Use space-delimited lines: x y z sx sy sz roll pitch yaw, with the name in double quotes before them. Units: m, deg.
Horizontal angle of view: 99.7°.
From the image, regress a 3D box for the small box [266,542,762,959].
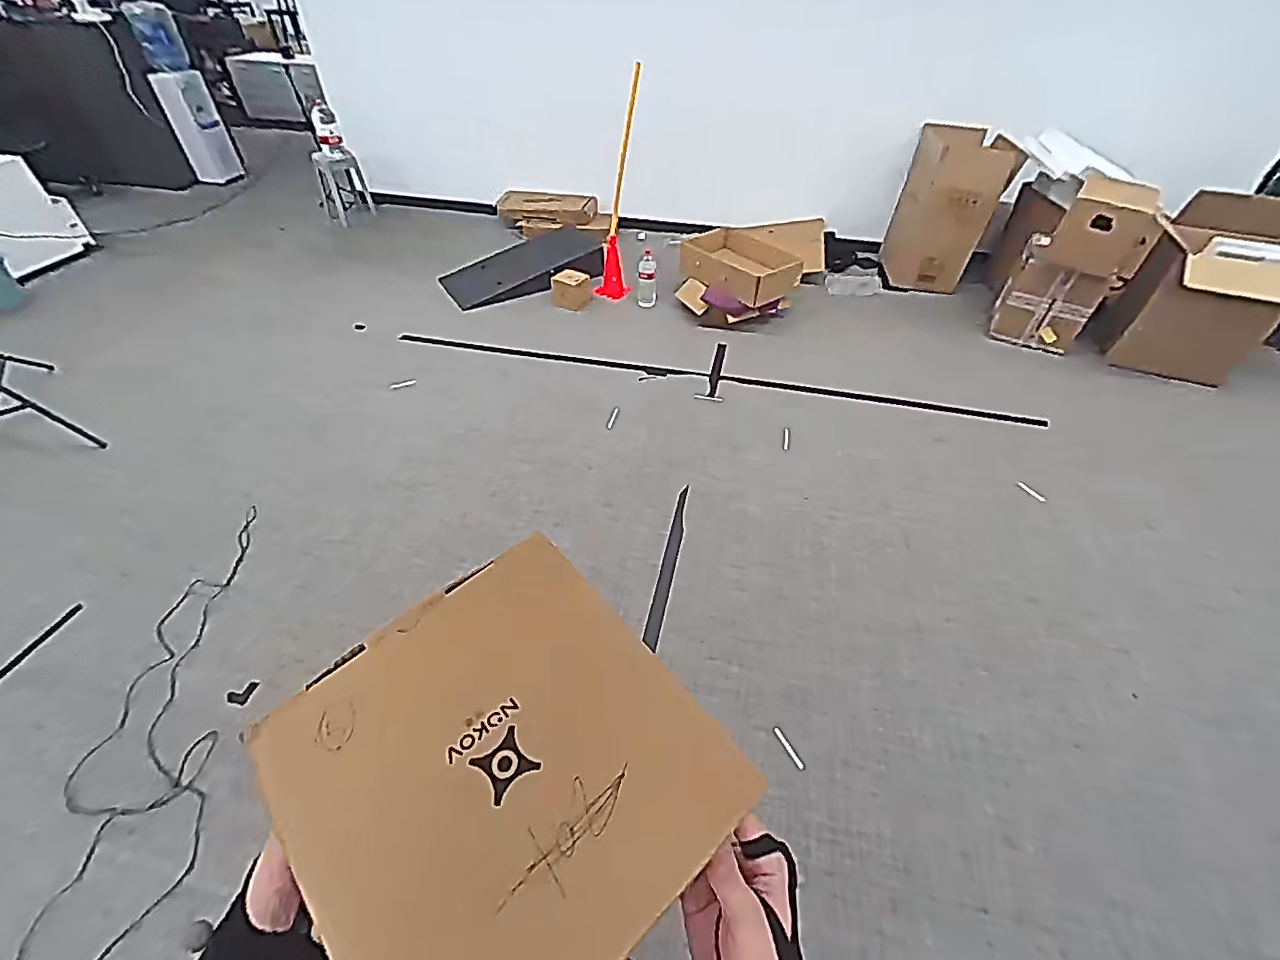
"small box" -0.063 0.177 0.313 0.168 0.176 0.179 -36 61 -26
